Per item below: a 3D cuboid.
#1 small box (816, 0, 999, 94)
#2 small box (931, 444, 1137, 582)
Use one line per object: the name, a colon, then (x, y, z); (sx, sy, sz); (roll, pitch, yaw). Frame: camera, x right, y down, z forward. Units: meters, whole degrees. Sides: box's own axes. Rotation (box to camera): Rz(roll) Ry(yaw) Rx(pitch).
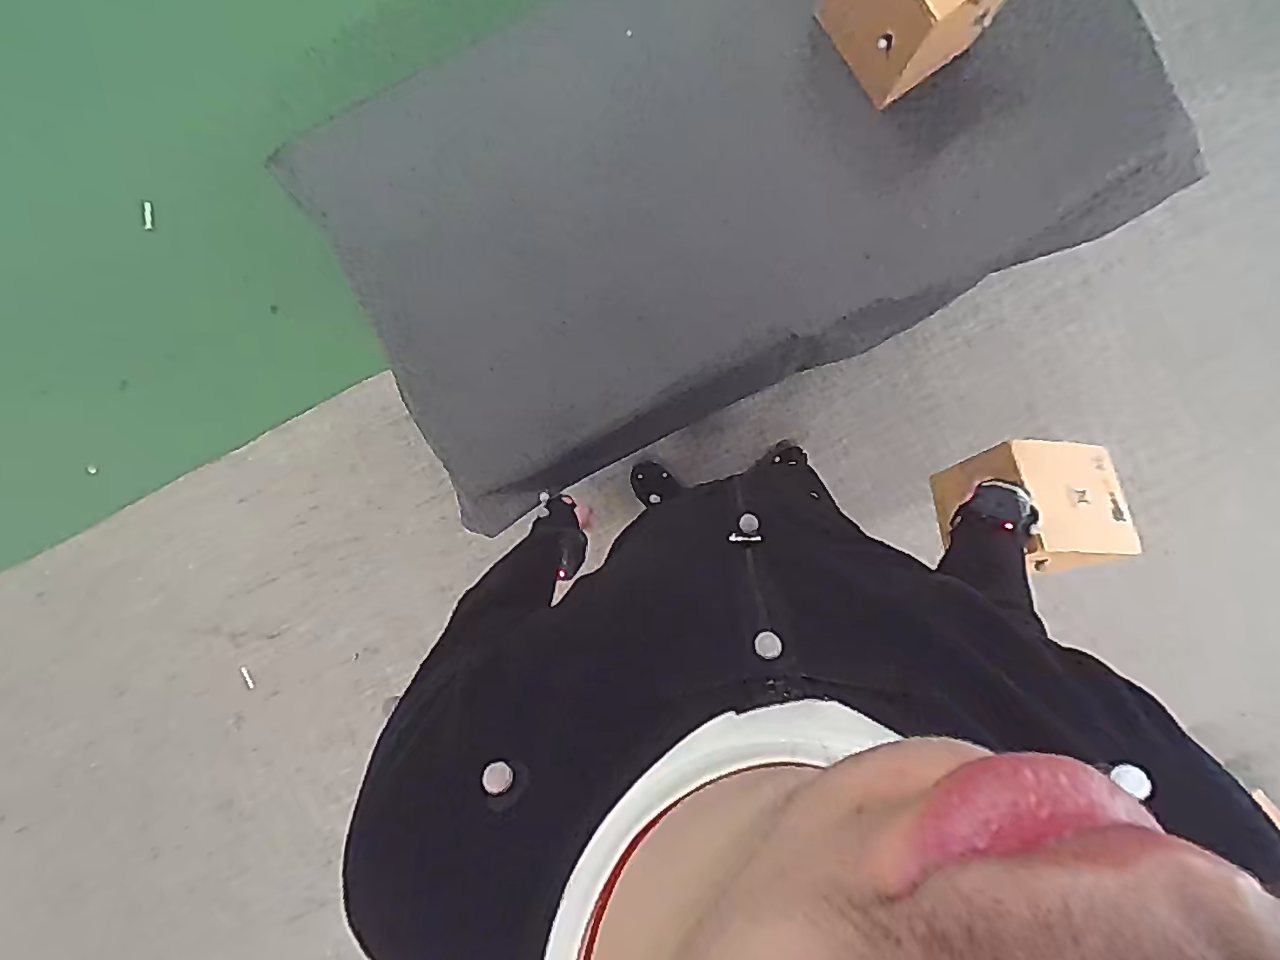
small box: (0.368, -0.661, 0.714); (0.168, 0.176, 0.179); (-35, 92, 0)
small box: (0.581, 0.058, 0.829); (0.179, 0.176, 0.168); (3, 67, -13)
